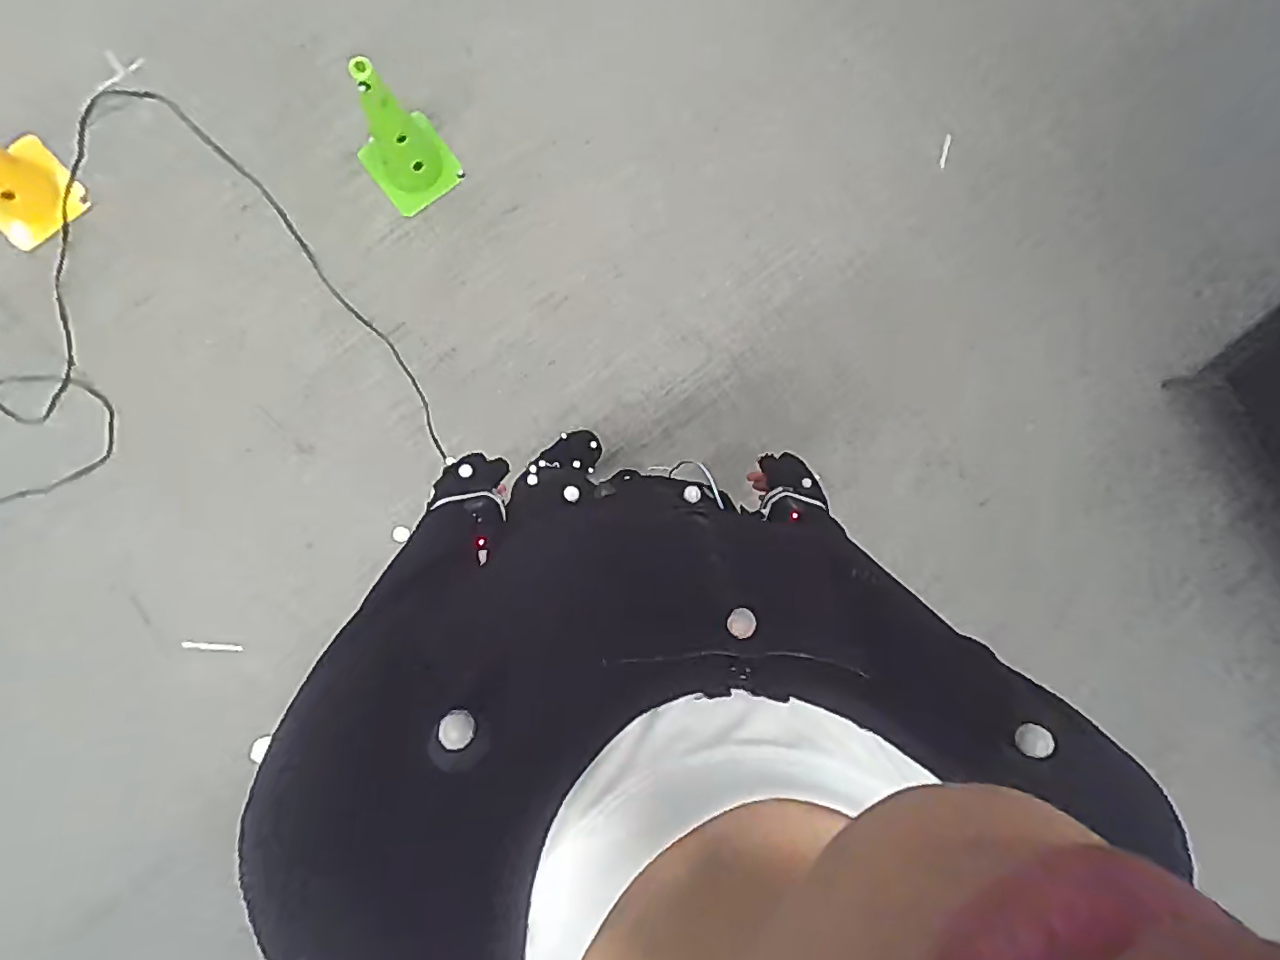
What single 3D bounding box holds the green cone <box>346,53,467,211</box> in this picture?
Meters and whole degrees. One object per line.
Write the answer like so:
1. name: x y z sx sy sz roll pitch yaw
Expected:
1. green cone: -0.553 -0.806 1.200 0.202 0.368 0.200 -38 96 -2
